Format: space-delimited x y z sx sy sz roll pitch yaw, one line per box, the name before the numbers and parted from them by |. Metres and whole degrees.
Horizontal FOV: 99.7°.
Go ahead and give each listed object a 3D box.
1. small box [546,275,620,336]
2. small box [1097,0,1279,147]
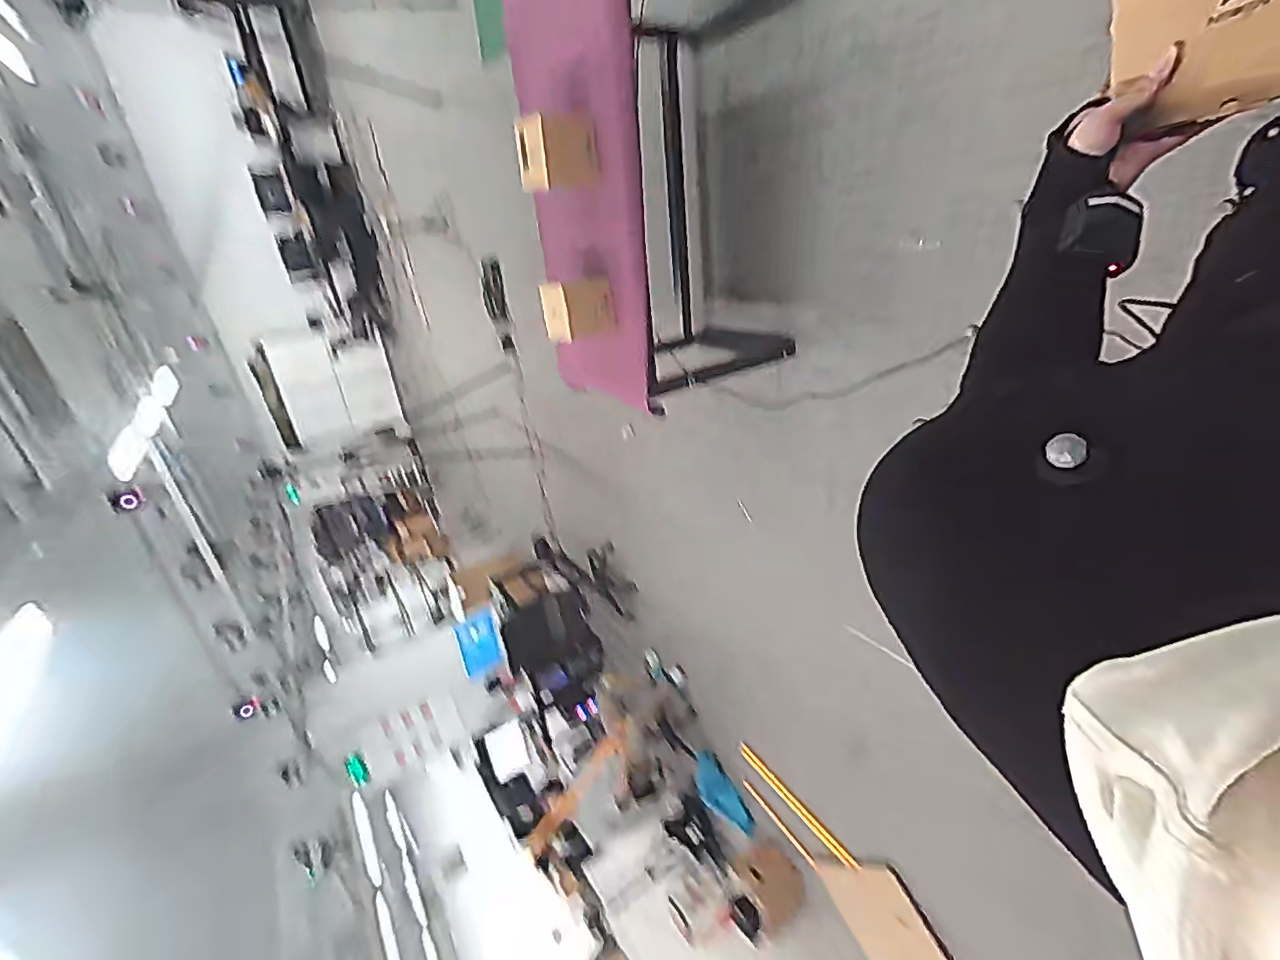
small box | -0.184 -0.569 1.757 0.179 0.176 0.168 26 130 53
small box | 0.531 -0.431 0.468 0.168 0.176 0.179 16 136 56
